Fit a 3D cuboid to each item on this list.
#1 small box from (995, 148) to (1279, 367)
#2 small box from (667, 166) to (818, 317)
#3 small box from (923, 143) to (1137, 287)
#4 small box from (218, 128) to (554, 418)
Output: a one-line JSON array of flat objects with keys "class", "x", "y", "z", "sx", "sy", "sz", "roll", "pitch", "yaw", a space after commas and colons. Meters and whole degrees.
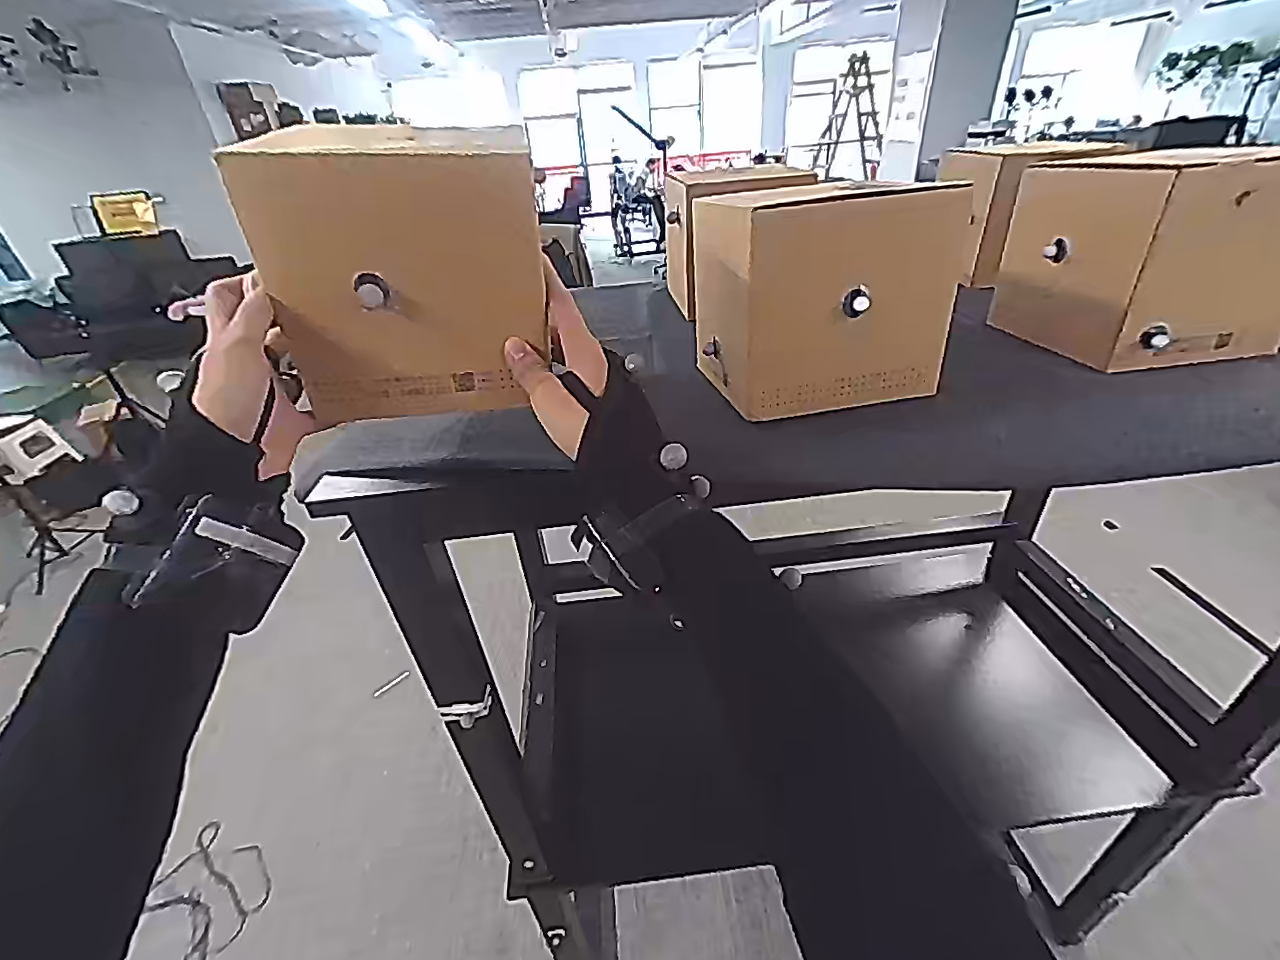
[{"class": "small box", "x": 0.492, "y": -0.214, "z": 0.525, "sx": 0.168, "sy": 0.176, "sz": 0.179, "roll": -6, "pitch": 30, "yaw": -2}, {"class": "small box", "x": 0.133, "y": -0.332, "z": 0.758, "sx": 0.168, "sy": 0.176, "sz": 0.179, "roll": -6, "pitch": 33, "yaw": -3}, {"class": "small box", "x": 0.542, "y": -0.382, "z": 0.785, "sx": 0.168, "sy": 0.176, "sz": 0.179, "roll": -3, "pitch": 32, "yaw": 2}, {"class": "small box", "x": -0.158, "y": -0.156, "z": 0.405, "sx": 0.168, "sy": 0.176, "sz": 0.179, "roll": -6, "pitch": 37, "yaw": -10}]
